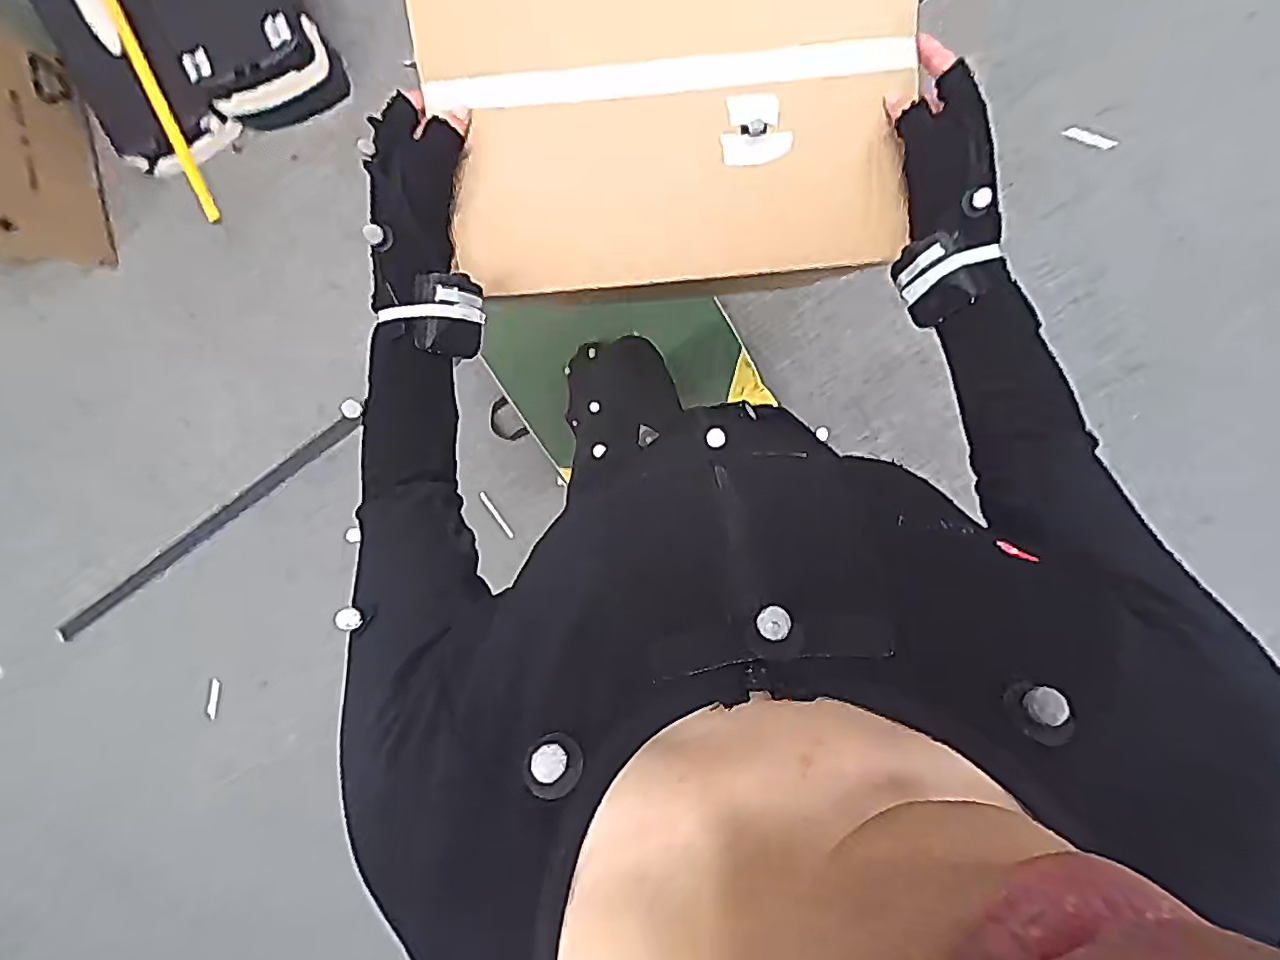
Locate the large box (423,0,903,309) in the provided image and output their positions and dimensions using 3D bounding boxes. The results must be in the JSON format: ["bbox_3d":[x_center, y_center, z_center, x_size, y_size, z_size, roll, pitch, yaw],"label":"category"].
[{"bbox_3d":[0.019,-0.378,0.606,0.408,0.320,0.320,-5,105,-2],"label":"large box"}]
